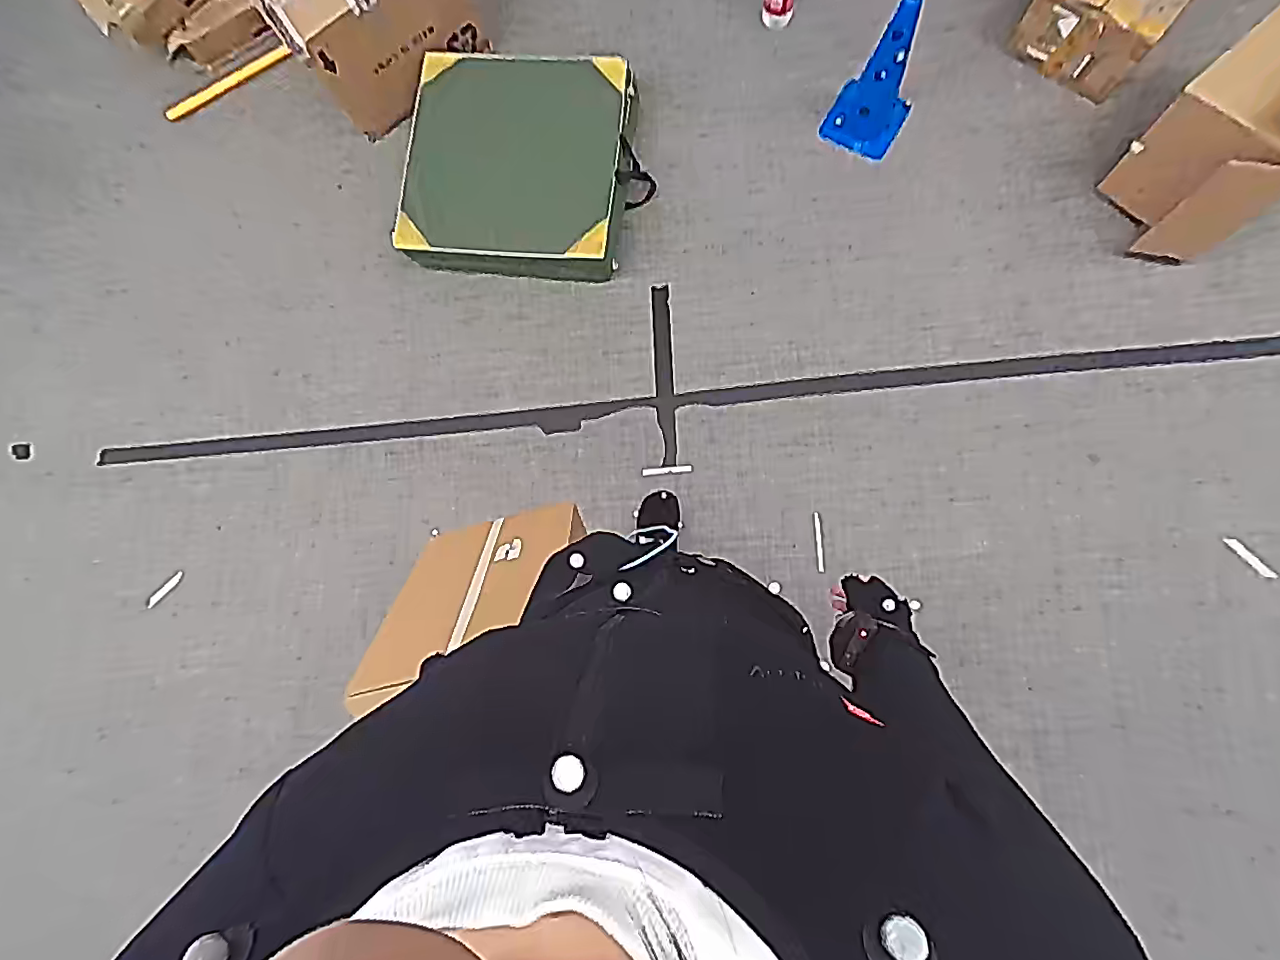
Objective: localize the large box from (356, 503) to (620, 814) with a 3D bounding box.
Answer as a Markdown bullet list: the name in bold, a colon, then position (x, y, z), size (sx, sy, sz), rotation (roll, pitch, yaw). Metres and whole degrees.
- **large box**: position (-0.227, 0.301, 0.986), size (0.320, 0.408, 0.320), rotation (-14, 117, 5)
